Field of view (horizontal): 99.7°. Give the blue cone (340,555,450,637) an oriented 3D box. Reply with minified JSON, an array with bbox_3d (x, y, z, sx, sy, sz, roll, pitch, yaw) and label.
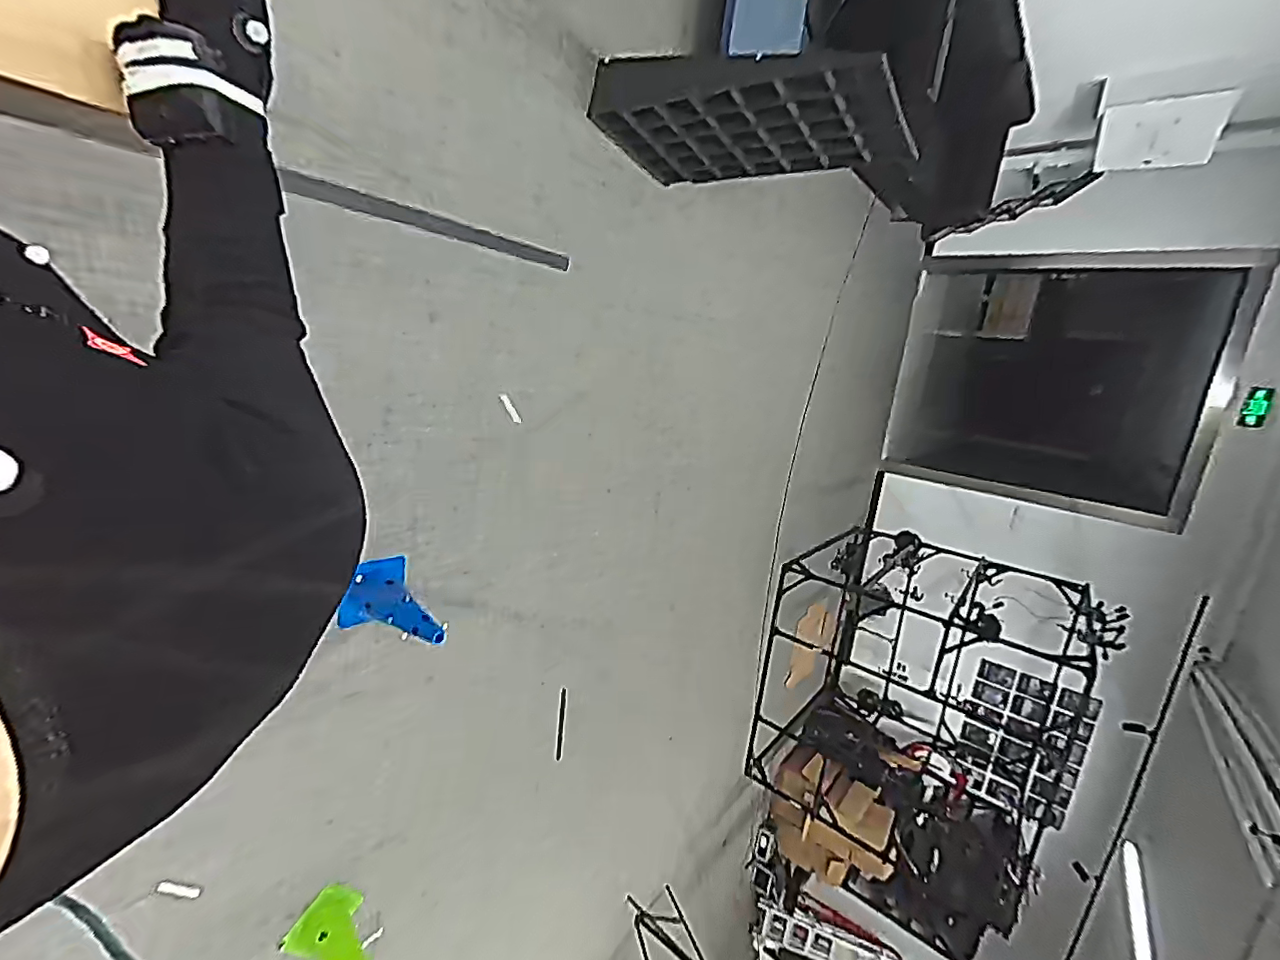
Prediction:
[{"bbox_3d":[-0.678,0.365,1.542,0.192,0.380,0.193,-4,107,-54],"label":"blue cone"}]

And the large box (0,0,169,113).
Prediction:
[{"bbox_3d":[-0.549,-0.444,0.278,0.408,0.320,0.320,-9,119,-52],"label":"large box"}]

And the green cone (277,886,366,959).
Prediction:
[{"bbox_3d":[-0.894,1.471,1.650,0.202,0.368,0.200,-52,140,-31],"label":"green cone"}]
